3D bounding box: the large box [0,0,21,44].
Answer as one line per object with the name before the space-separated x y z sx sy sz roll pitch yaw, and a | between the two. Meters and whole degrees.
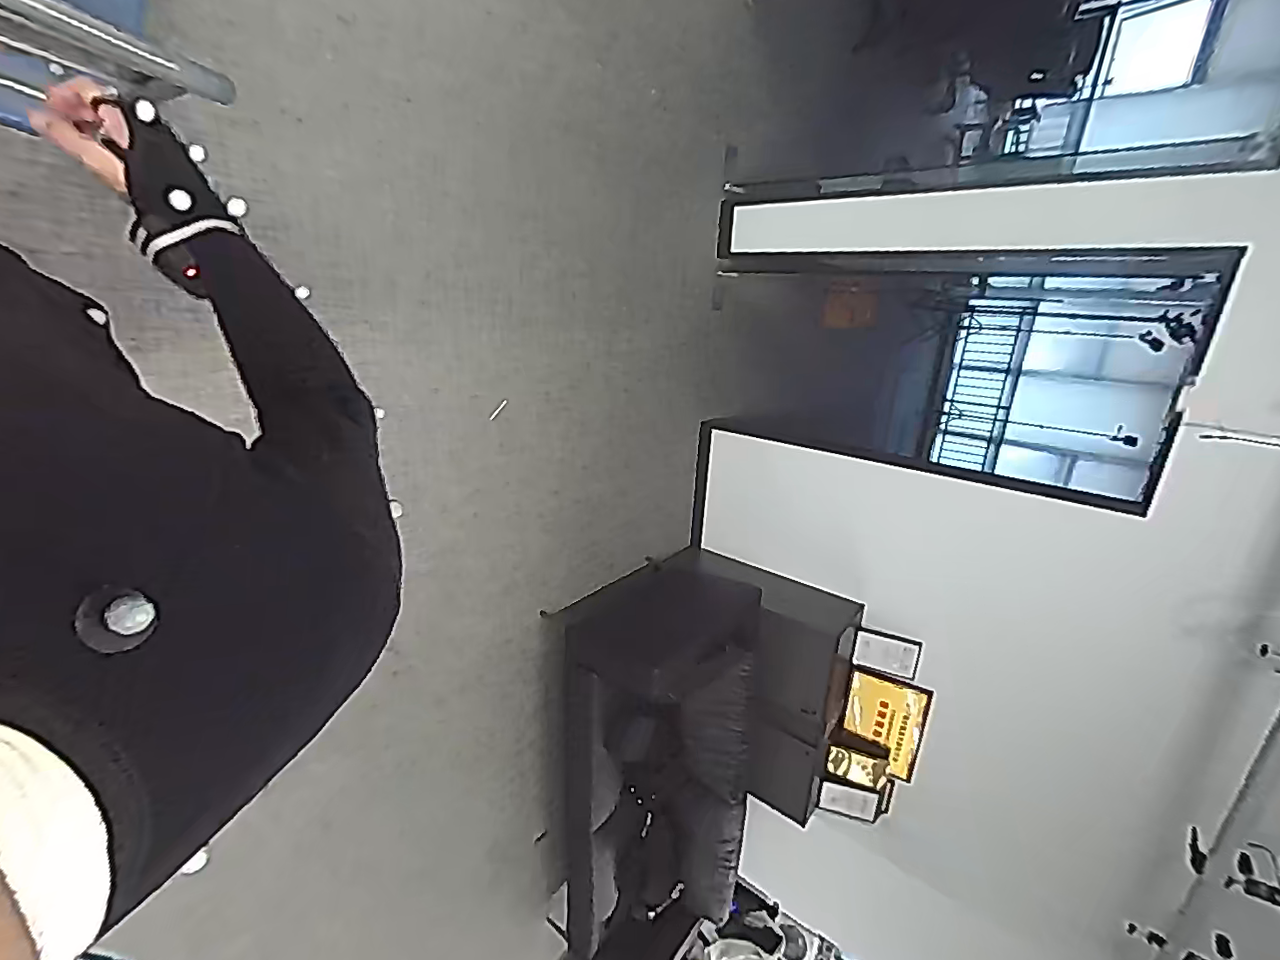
large box | -0.989 -0.864 0.650 0.320 0.320 0.408 -2 104 -53
